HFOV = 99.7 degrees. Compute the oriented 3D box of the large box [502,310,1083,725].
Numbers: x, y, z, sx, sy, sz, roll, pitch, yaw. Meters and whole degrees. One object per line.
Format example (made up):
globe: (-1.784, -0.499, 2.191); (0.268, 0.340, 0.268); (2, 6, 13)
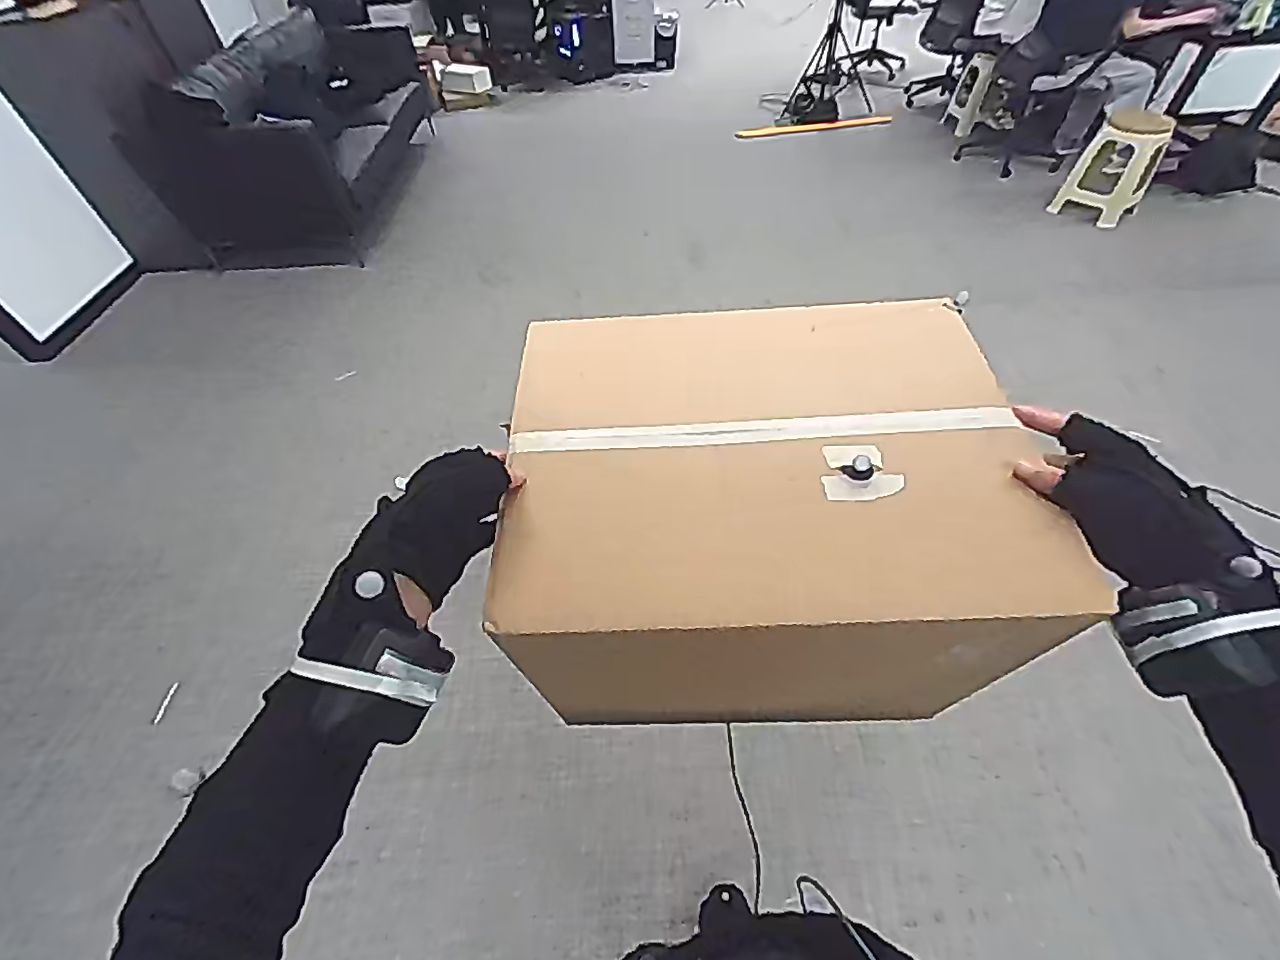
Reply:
large box: (0.104, 0.055, 0.571); (0.408, 0.320, 0.320); (-3, 56, 2)
